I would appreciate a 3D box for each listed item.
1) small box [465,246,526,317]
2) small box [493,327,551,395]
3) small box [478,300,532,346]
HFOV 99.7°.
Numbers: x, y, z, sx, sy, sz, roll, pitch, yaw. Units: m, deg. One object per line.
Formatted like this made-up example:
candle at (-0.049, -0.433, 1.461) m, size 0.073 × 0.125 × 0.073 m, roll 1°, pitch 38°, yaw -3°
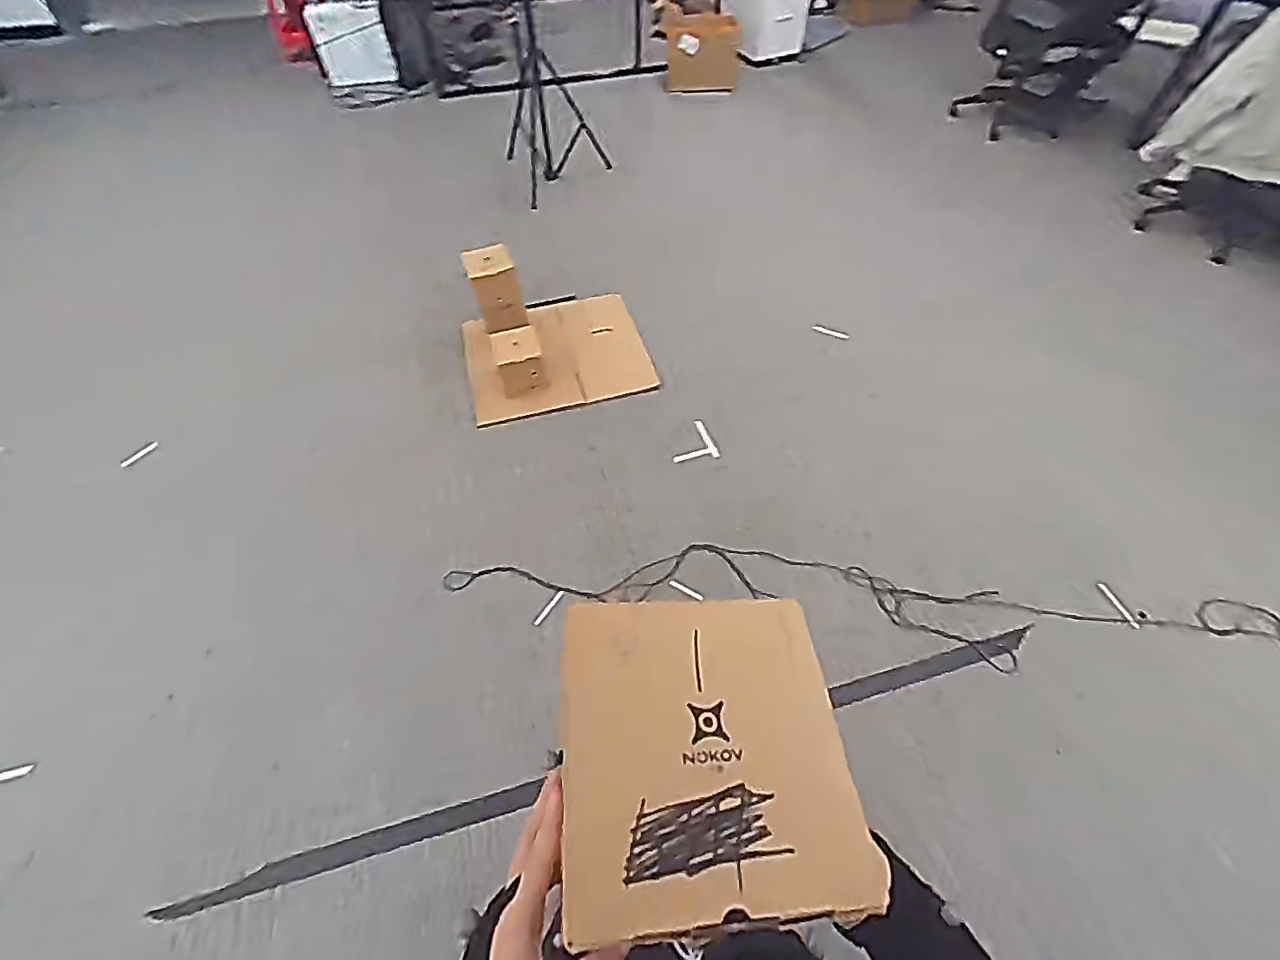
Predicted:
small box at (-0.541, -0.745, 2.031) m, size 0.168 × 0.176 × 0.179 m, roll -19°, pitch 56°, yaw -11°
small box at (-0.435, -0.434, 2.008) m, size 0.168 × 0.176 × 0.179 m, roll -16°, pitch 55°, yaw -11°
small box at (-0.533, -0.648, 2.164) m, size 0.168 × 0.176 × 0.179 m, roll -20°, pitch 57°, yaw -13°
